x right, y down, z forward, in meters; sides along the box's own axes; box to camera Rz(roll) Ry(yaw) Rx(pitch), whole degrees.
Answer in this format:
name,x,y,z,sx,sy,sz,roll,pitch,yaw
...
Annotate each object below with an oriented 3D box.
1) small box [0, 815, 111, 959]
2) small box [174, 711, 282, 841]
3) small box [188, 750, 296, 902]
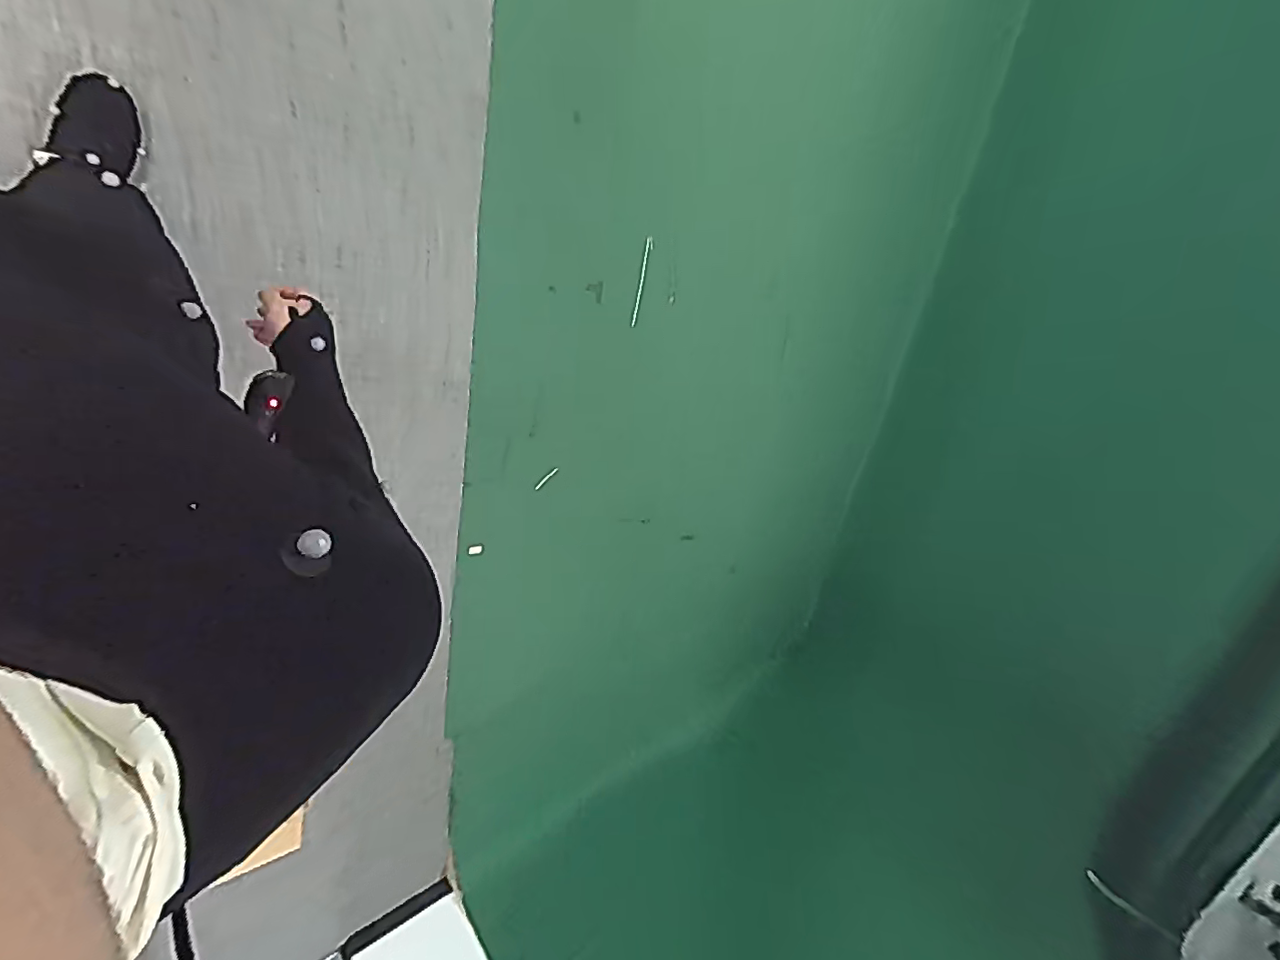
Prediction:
name,x,y,z,sx,sy,sz,roll,pitch,yaw
small box,-1.047,0.732,0.948,0.168,0.176,0.179,0,114,-44
small box,-0.958,0.672,1.255,0.179,0.176,0.168,-4,115,-44
small box,-0.846,0.722,1.149,0.168,0.176,0.179,-5,116,-43
